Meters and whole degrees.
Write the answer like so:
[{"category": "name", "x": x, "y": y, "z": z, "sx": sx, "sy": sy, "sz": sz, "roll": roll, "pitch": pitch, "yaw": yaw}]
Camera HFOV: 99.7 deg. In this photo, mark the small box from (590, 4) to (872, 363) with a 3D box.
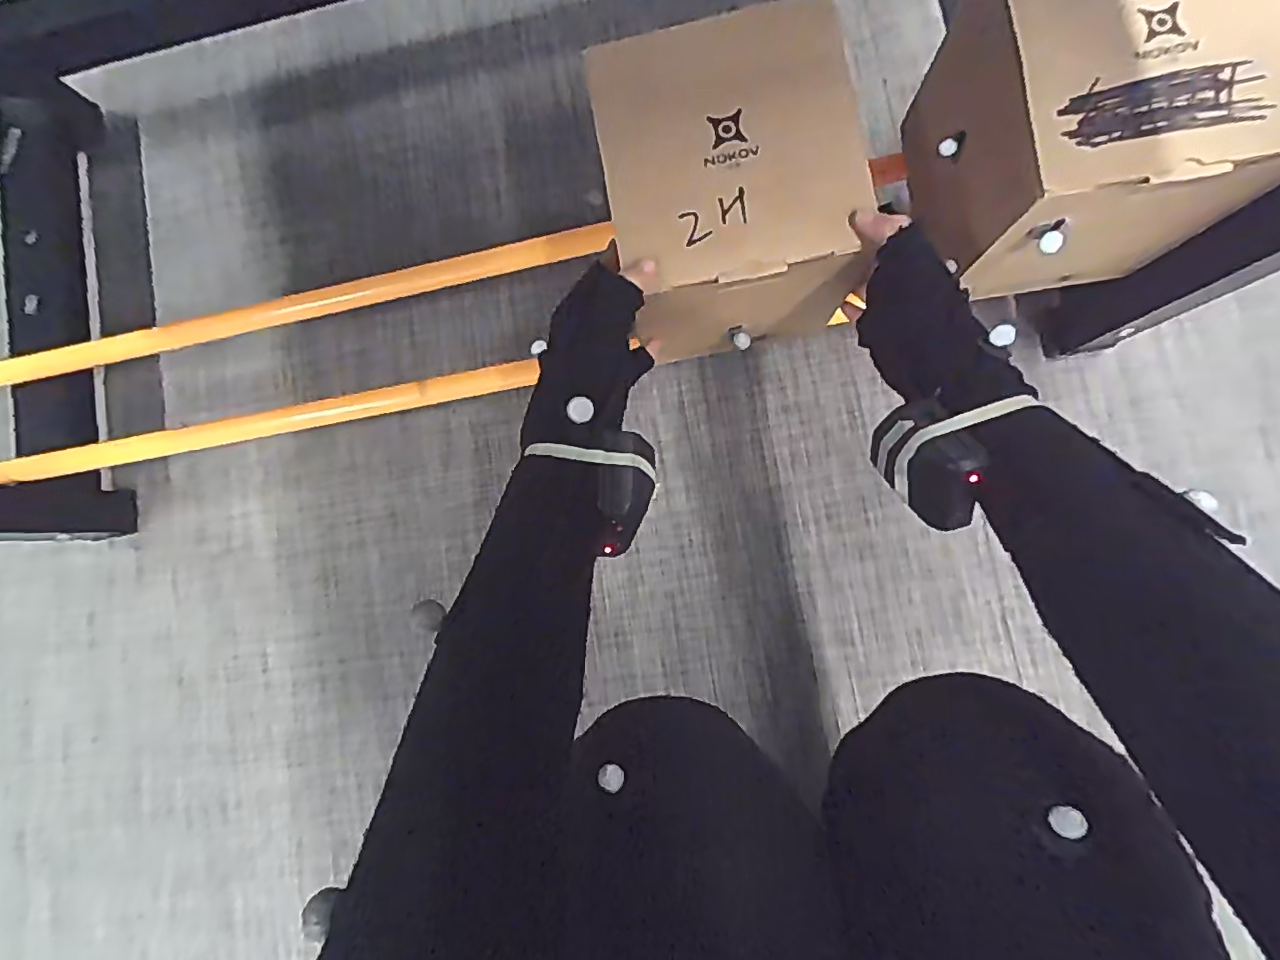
[{"category": "small box", "x": 0.064, "y": -0.213, "z": 0.437, "sx": 0.168, "sy": 0.176, "sz": 0.179, "roll": -10, "pitch": 85, "yaw": 6}]
